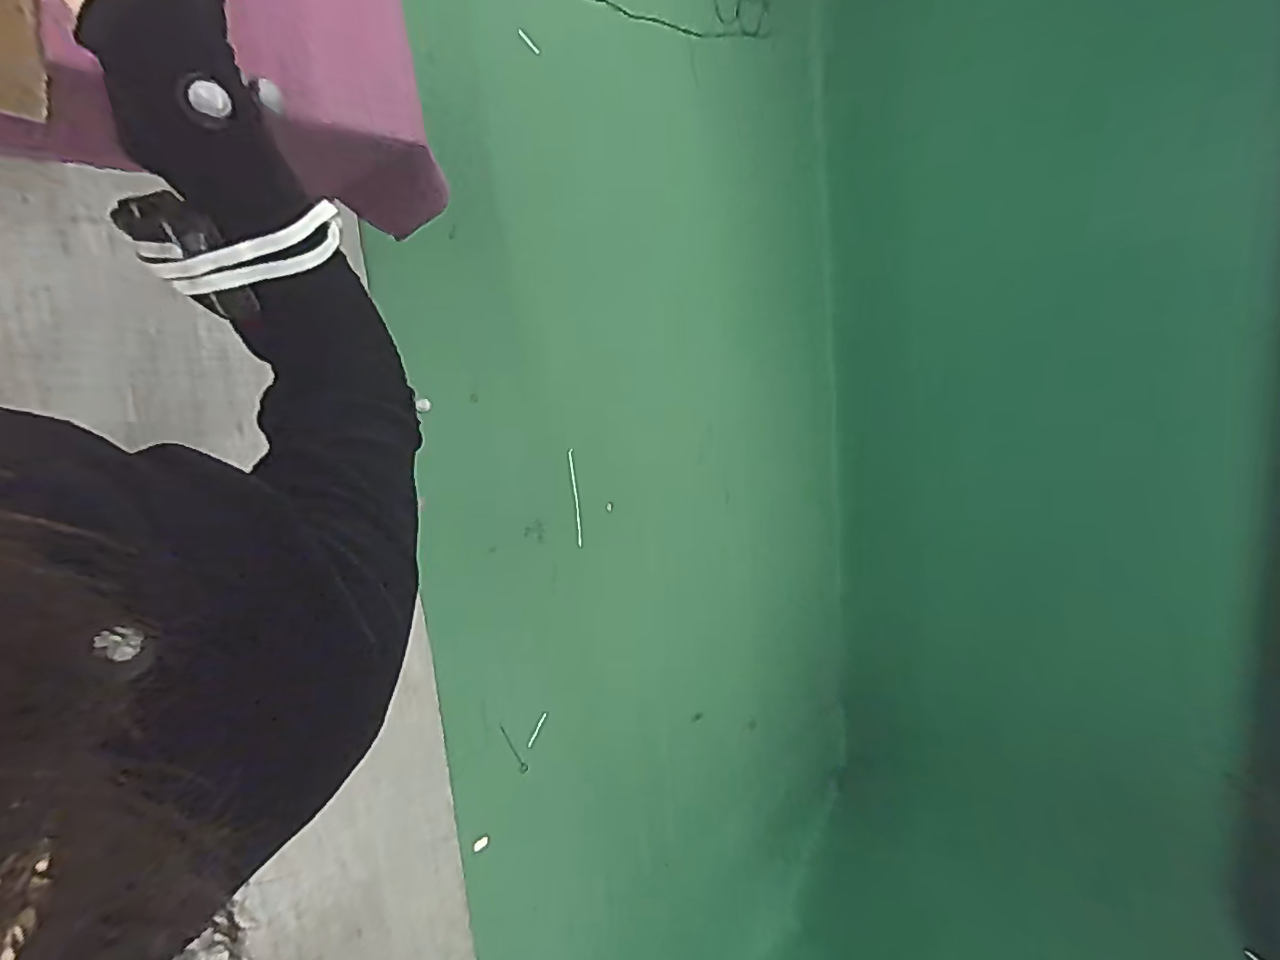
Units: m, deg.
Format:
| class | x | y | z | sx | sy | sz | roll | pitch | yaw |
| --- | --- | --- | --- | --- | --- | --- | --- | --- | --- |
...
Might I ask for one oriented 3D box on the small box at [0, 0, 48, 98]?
| class | x | y | z | sx | sy | sz | roll | pitch | yaw |
| --- | --- | --- | --- | --- | --- | --- | --- | --- | --- |
| small box | -0.358 | -0.295 | 0.207 | 0.168 | 0.176 | 0.179 | -7 | 99 | -46 |
